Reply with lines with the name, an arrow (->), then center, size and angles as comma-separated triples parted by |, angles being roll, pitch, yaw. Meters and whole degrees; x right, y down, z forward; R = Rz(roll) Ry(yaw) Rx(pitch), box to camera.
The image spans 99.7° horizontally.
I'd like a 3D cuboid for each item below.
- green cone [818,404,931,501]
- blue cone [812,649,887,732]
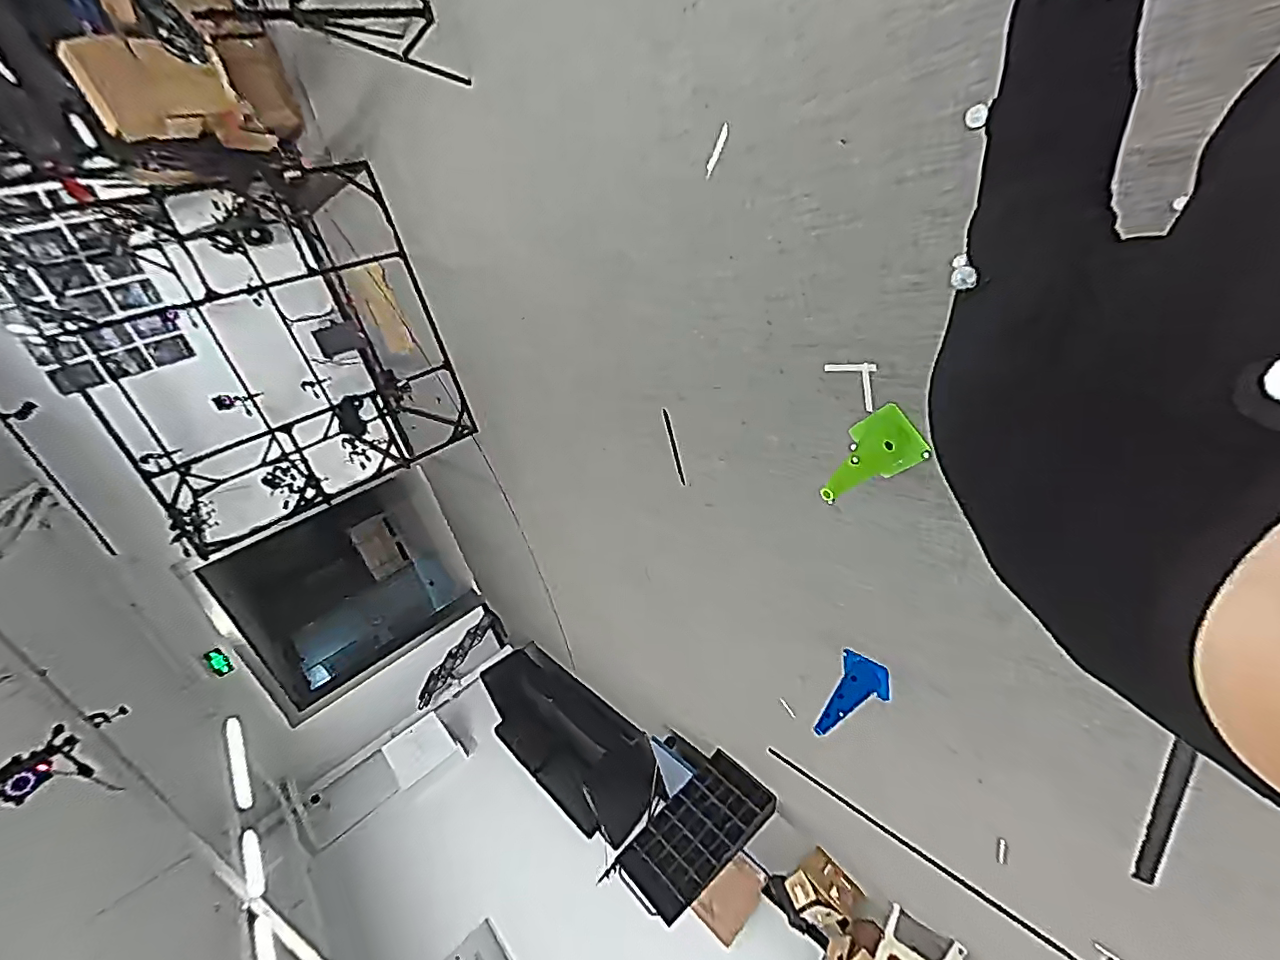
green cone -> 0.652, -0.043, 1.607 | 0.200, 0.368, 0.202 | 55, 151, 7
blue cone -> 0.838, 0.895, 2.213 | 0.192, 0.380, 0.193 | 22, 134, 47
